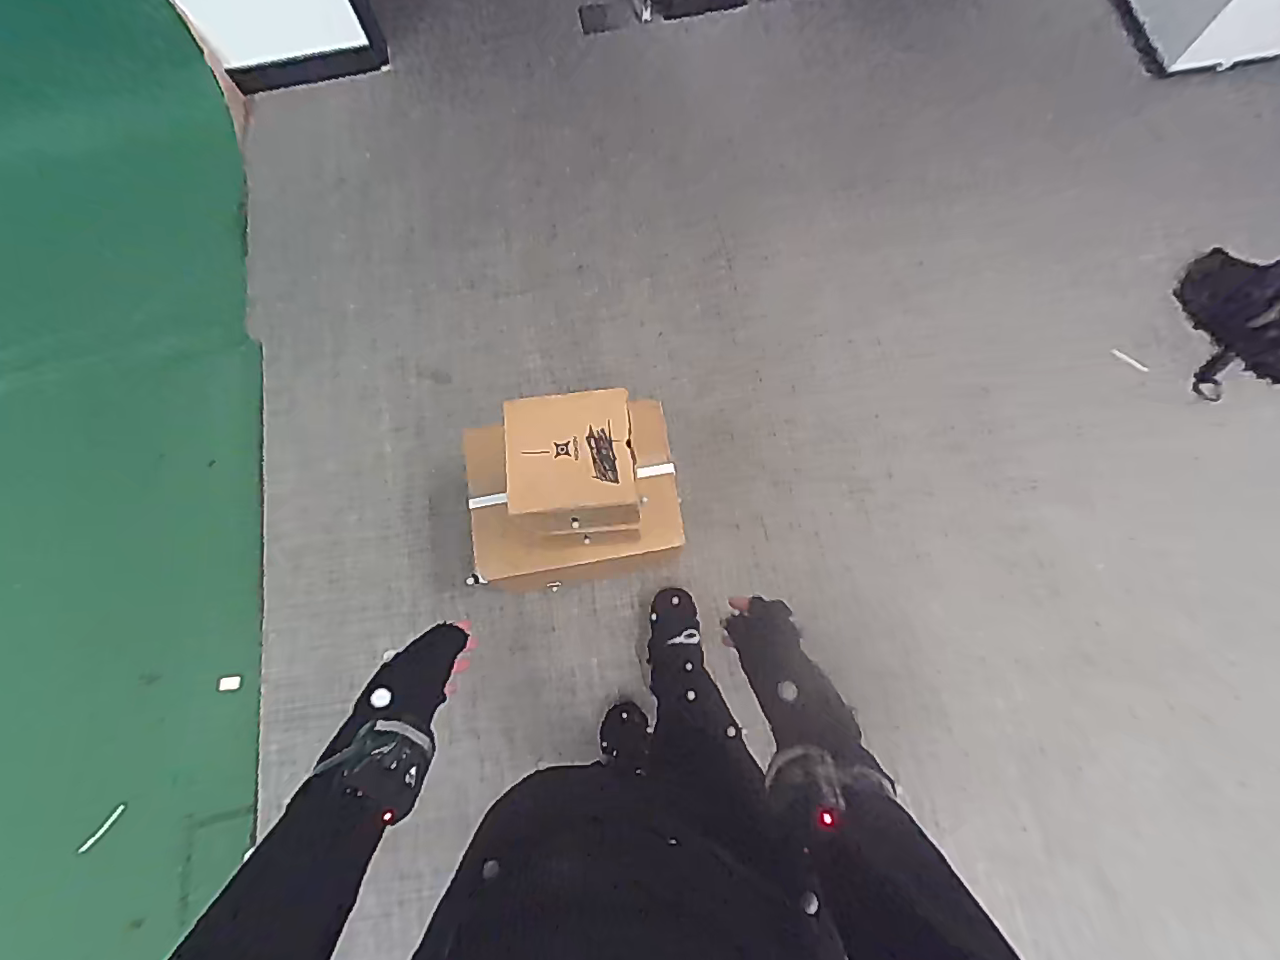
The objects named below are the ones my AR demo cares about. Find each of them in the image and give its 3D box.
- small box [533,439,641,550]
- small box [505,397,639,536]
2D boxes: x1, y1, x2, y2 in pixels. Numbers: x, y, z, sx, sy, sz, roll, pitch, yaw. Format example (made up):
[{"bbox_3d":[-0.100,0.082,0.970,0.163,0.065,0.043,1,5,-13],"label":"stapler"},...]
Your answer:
[{"bbox_3d":[-0.090,0.031,0.972,0.179,0.176,0.168,-4,77,-1],"label":"small box"},{"bbox_3d":[-0.094,-0.013,0.814,0.179,0.176,0.168,-6,76,1],"label":"small box"}]
